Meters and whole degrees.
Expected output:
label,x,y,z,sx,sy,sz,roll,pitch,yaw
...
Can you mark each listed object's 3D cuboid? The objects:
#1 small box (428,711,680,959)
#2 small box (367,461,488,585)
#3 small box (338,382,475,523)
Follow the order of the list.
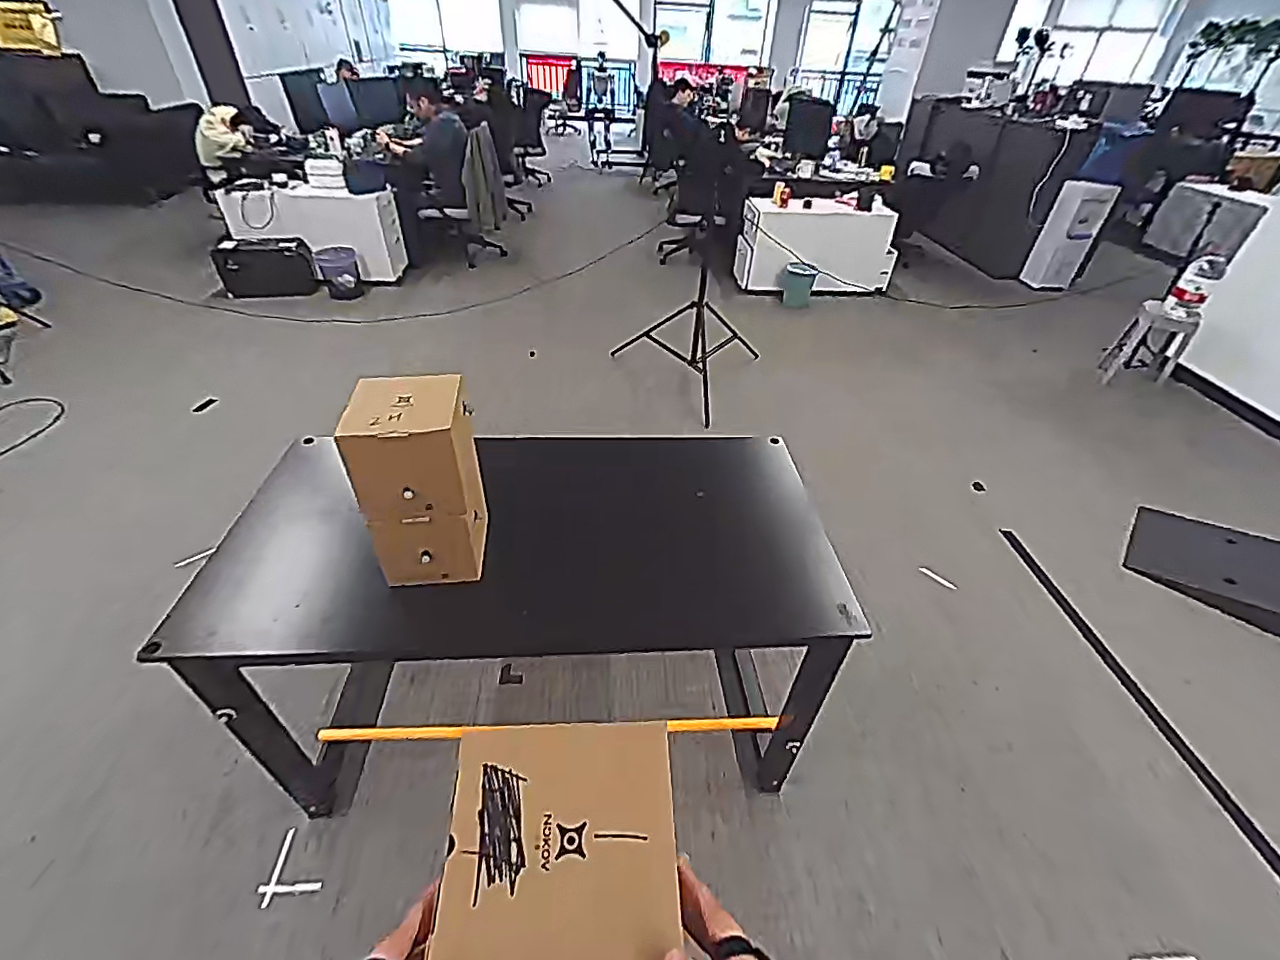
label,x,y,z,sx,sy,sz,roll,pitch,yaw
small box,-0.059,0.320,0.477,0.179,0.176,0.168,-2,48,-1
small box,-0.384,0.083,1.013,0.168,0.176,0.179,-3,40,-7
small box,-0.377,-0.049,0.911,0.168,0.176,0.179,-5,39,-8
